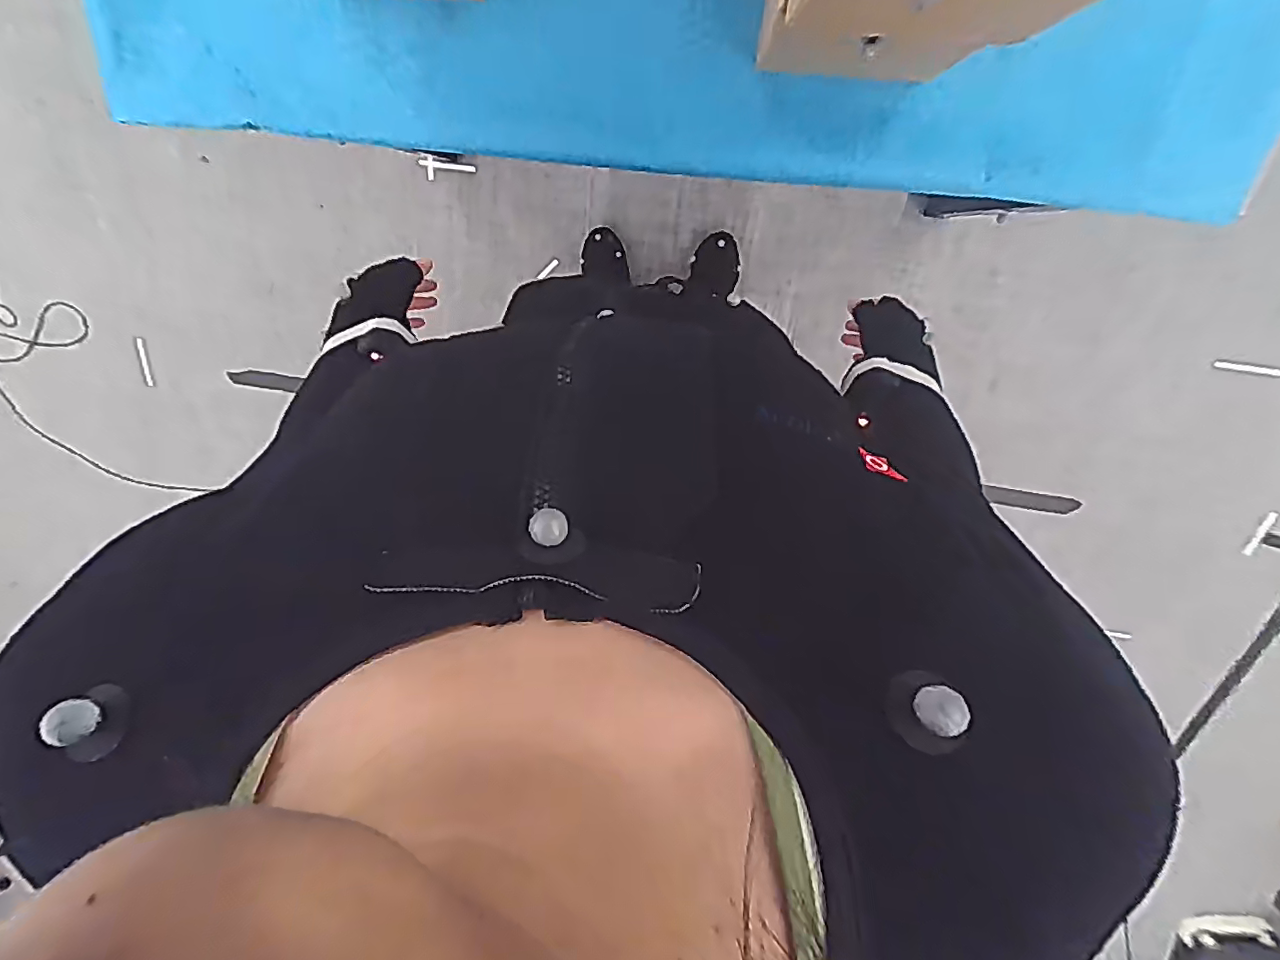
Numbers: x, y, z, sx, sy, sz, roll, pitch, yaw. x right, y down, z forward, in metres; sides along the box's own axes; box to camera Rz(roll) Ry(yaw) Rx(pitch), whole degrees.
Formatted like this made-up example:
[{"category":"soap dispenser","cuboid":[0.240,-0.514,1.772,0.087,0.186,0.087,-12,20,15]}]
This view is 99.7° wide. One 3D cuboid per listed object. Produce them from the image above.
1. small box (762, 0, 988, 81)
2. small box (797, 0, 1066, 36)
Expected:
[{"category":"small box","cuboid":[0.203,-0.446,0.437,0.179,0.176,0.168,8,116,3]},{"category":"small box","cuboid":[0.193,-0.370,0.294,0.179,0.176,0.168,4,115,4]}]
